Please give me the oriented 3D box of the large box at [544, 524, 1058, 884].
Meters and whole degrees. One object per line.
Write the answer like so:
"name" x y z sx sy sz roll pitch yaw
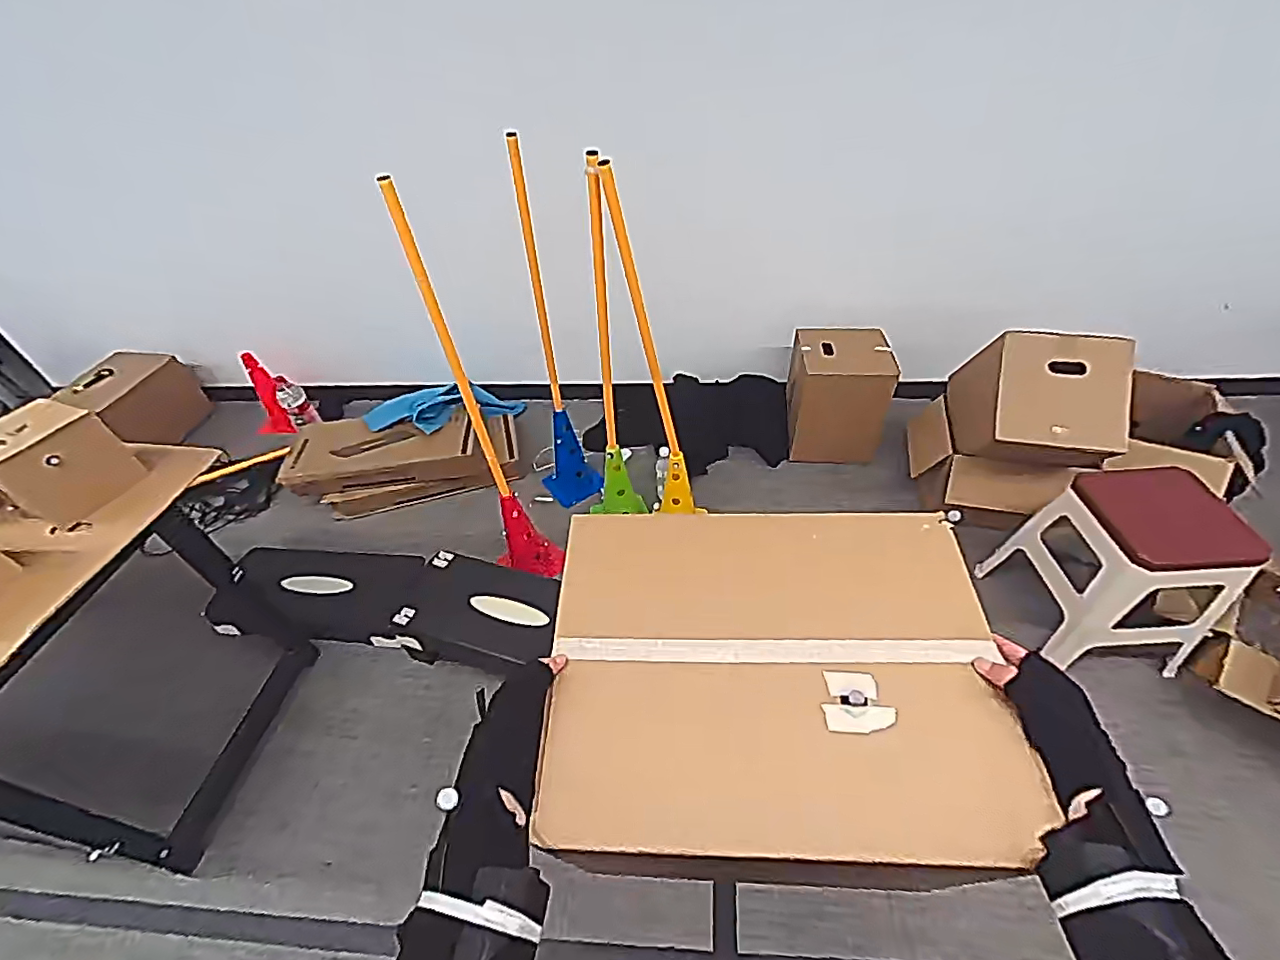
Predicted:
"large box" 0.131 0.264 0.625 0.408 0.320 0.320 0 52 4
